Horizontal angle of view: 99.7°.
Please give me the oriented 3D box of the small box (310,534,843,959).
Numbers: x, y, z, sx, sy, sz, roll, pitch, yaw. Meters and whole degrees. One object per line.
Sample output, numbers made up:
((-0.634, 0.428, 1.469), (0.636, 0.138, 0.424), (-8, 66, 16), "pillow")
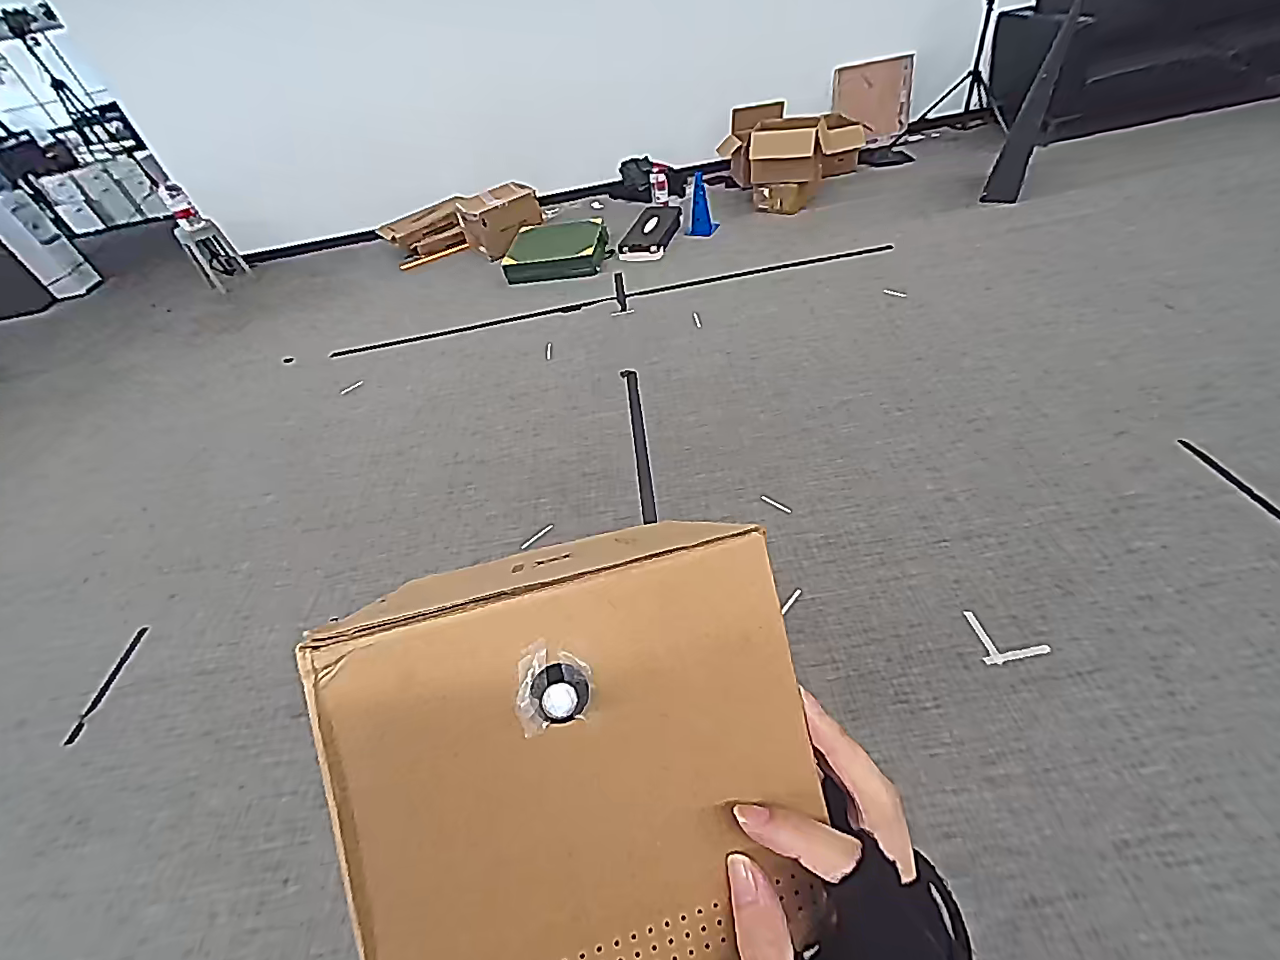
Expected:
((-0.027, 0.130, 0.276), (0.179, 0.168, 0.176), (-12, 89, -10), "small box")
